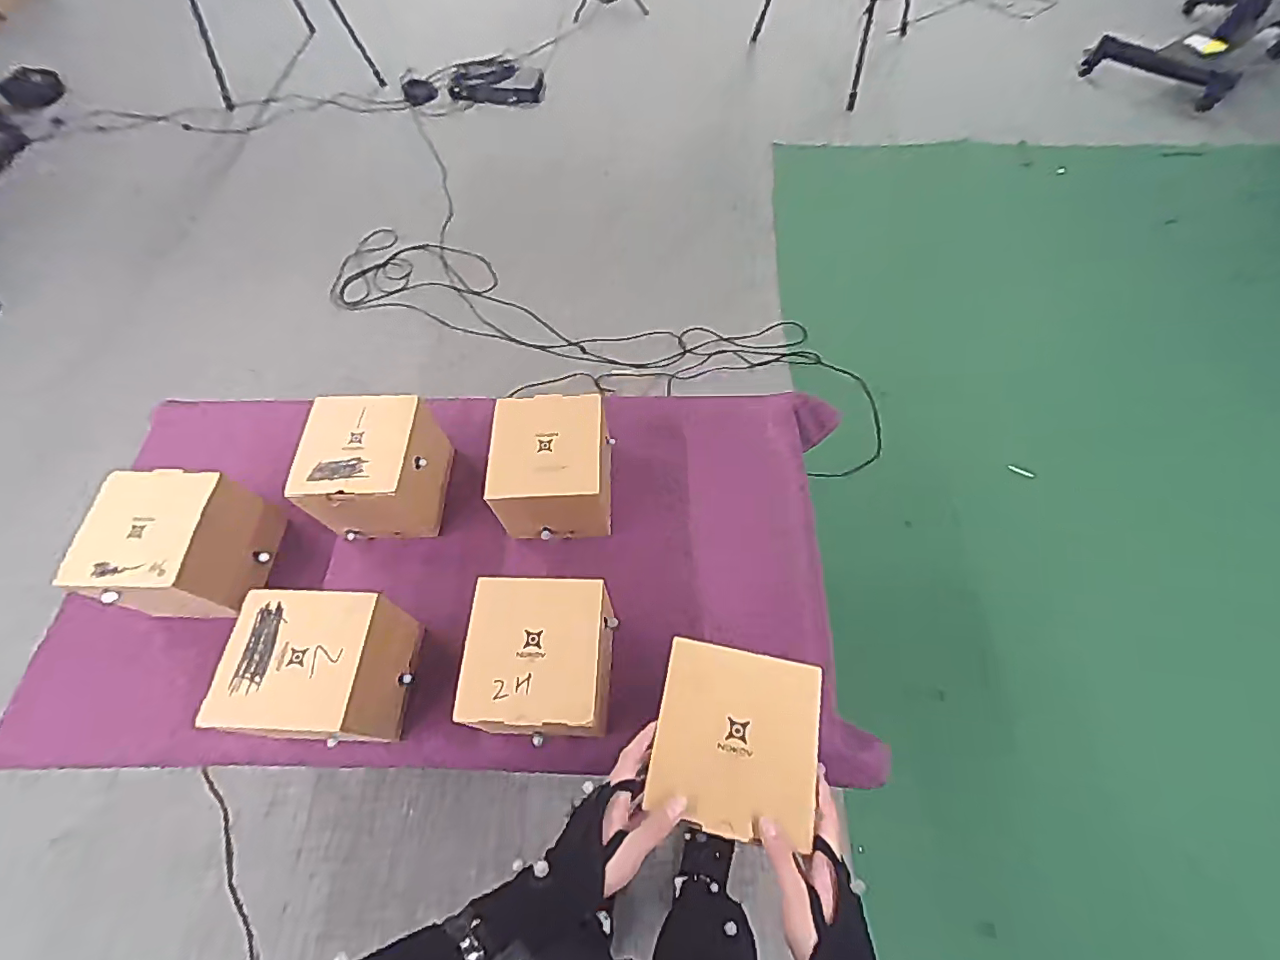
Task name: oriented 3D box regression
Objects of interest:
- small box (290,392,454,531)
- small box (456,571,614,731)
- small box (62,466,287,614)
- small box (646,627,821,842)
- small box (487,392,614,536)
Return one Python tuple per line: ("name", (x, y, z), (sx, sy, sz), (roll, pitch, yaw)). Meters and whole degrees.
("small box", (-0.418, -0.023, 0.879), (0.168, 0.176, 0.179), (-1, 62, 2))
("small box", (-0.126, 0.235, 0.731), (0.168, 0.176, 0.179), (1, 62, 3))
("small box", (-0.684, 0.094, 0.825), (0.168, 0.176, 0.179), (0, 62, 4))
("small box", (0.102, 0.295, 0.627), (0.168, 0.176, 0.179), (10, 59, 7))
("small box", (-0.133, -0.021, 0.869), (0.168, 0.176, 0.179), (-2, 63, 2))
